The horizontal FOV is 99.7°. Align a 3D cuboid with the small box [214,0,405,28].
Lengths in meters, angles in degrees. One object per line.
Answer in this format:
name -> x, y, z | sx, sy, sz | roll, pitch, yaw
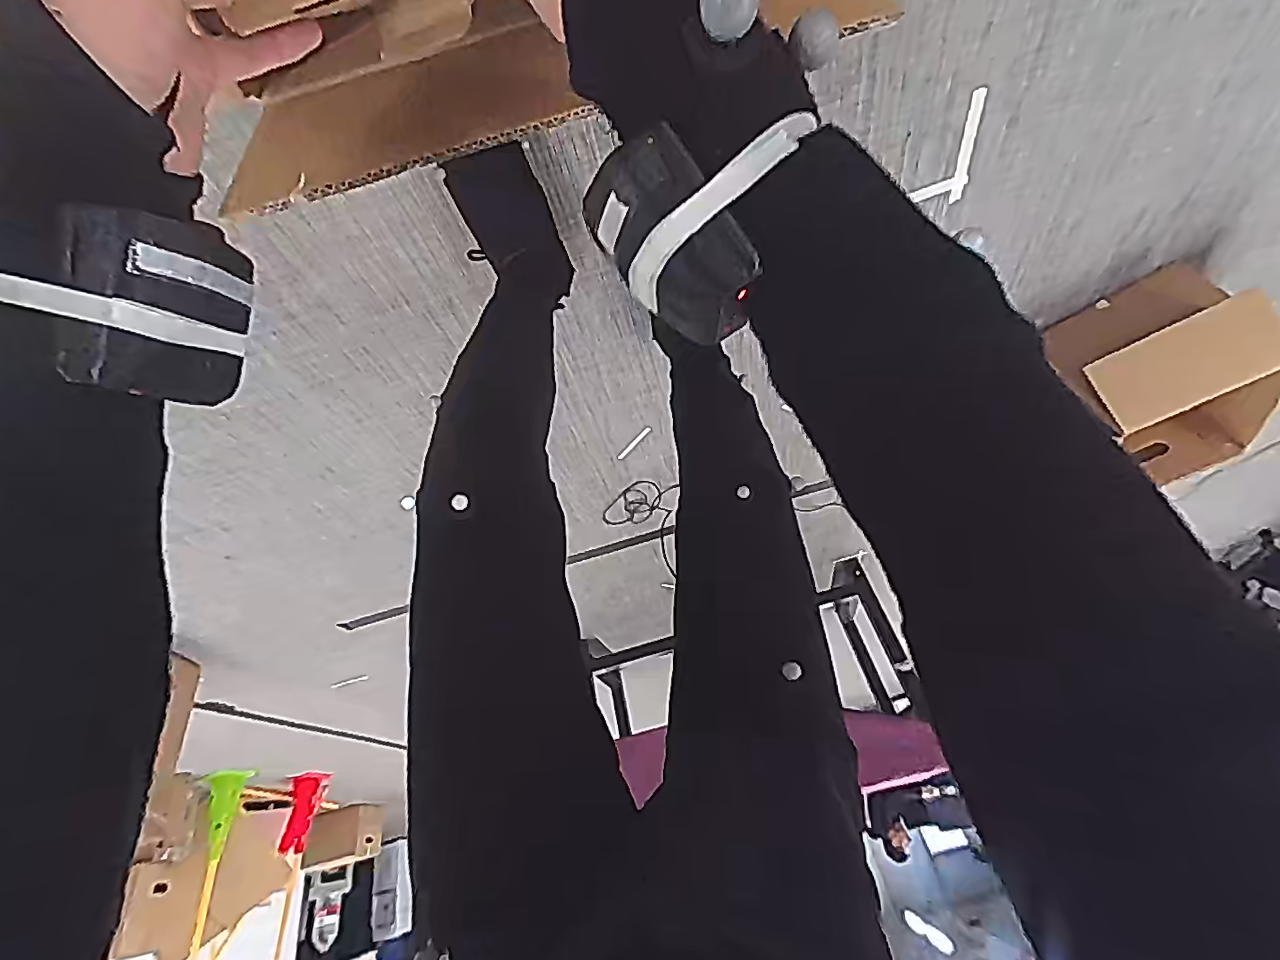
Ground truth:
small box -> -0.125, -0.330, 0.231 | 0.168, 0.176, 0.179 | -11, 134, 8
